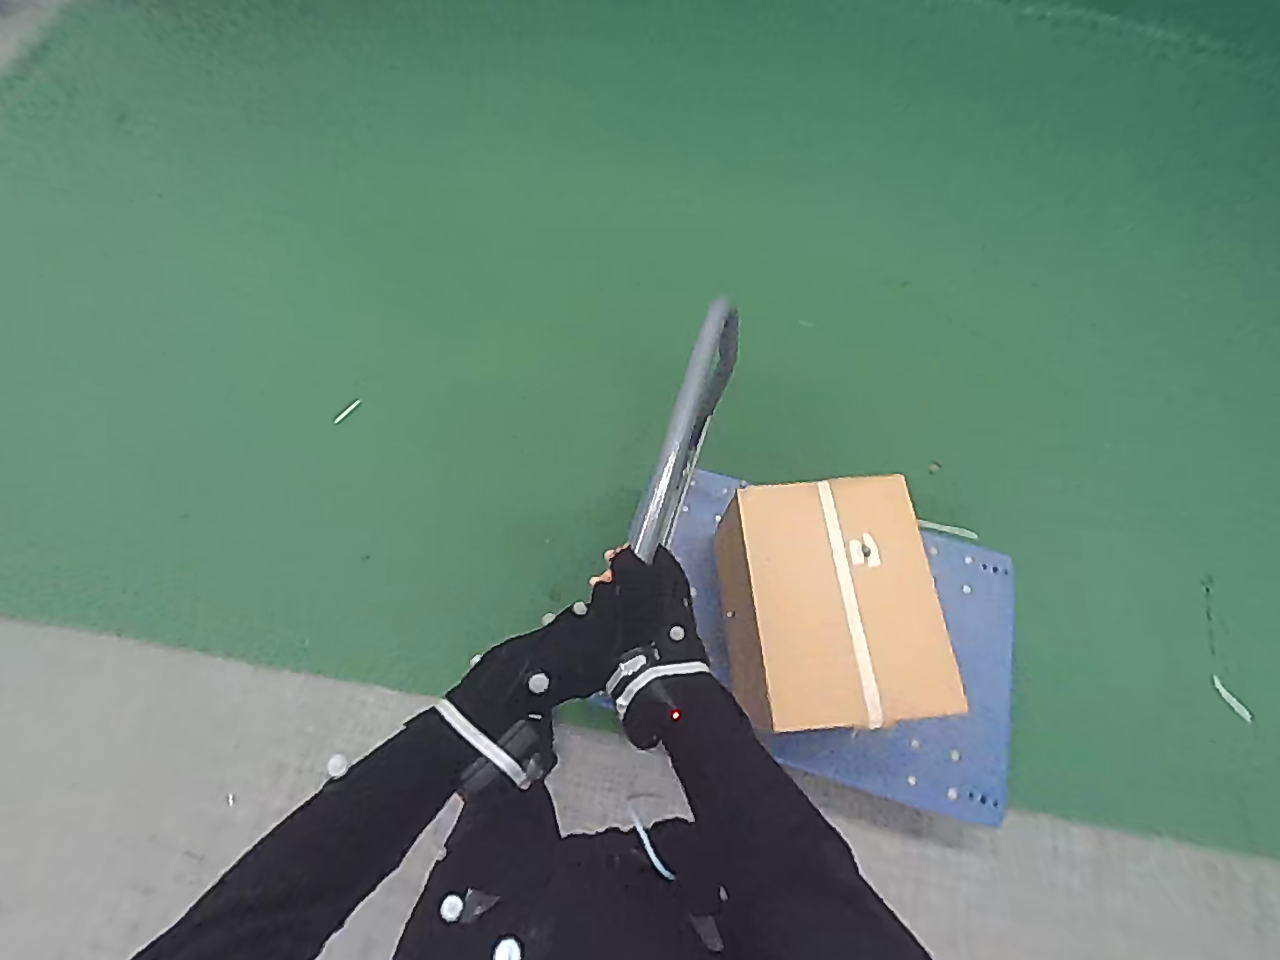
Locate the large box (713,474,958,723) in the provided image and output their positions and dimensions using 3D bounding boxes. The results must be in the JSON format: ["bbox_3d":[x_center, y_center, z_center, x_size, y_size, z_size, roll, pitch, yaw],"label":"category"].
[{"bbox_3d":[0.335,0.239,1.053,0.320,0.320,0.408,-3,68,-3],"label":"large box"}]
